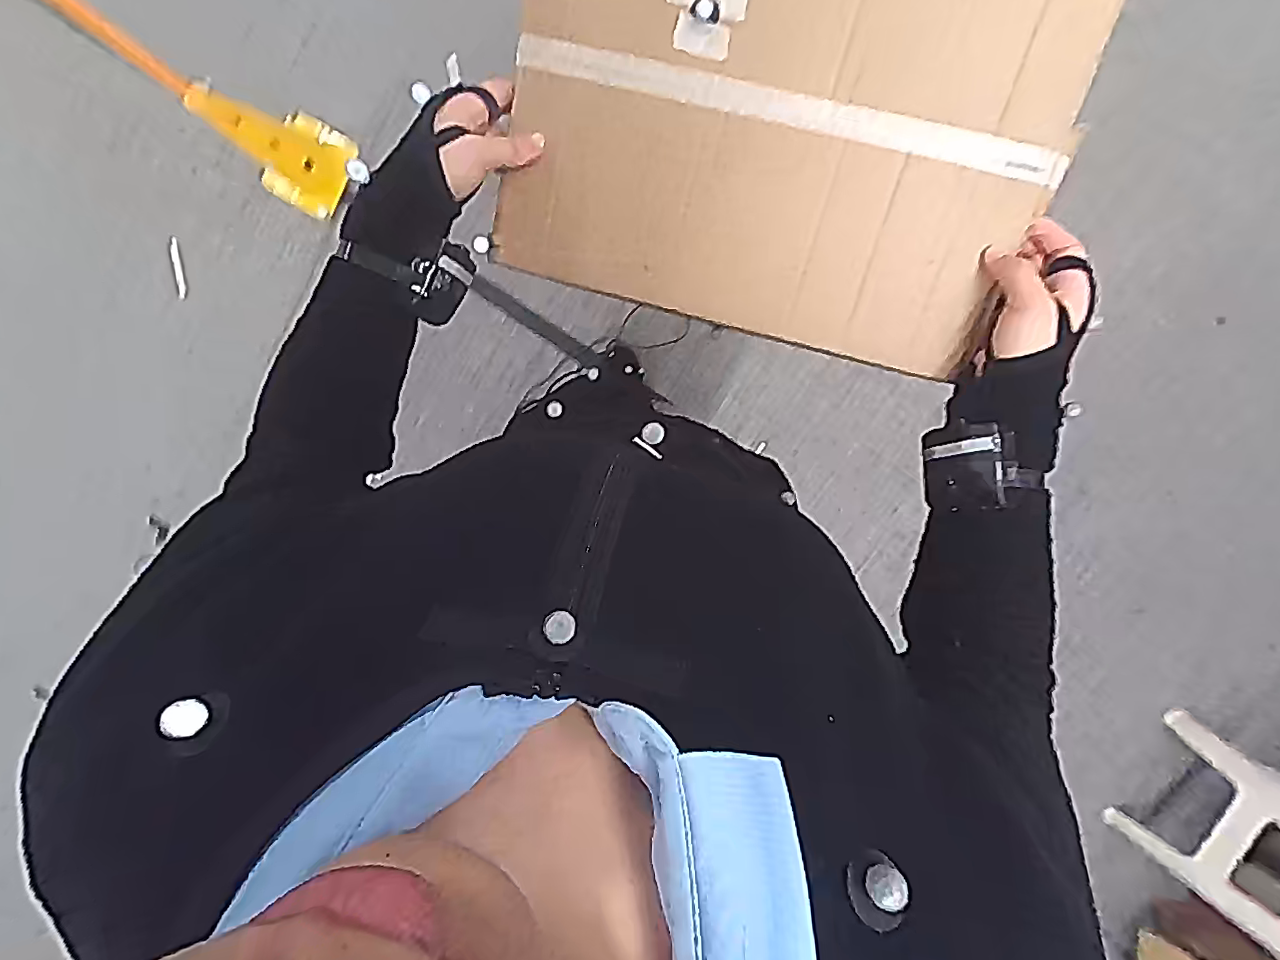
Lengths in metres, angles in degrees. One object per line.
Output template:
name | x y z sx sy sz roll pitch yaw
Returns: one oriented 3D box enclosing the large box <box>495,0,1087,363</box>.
large box | 0.119 -0.322 0.555 0.408 0.320 0.320 15 106 6
